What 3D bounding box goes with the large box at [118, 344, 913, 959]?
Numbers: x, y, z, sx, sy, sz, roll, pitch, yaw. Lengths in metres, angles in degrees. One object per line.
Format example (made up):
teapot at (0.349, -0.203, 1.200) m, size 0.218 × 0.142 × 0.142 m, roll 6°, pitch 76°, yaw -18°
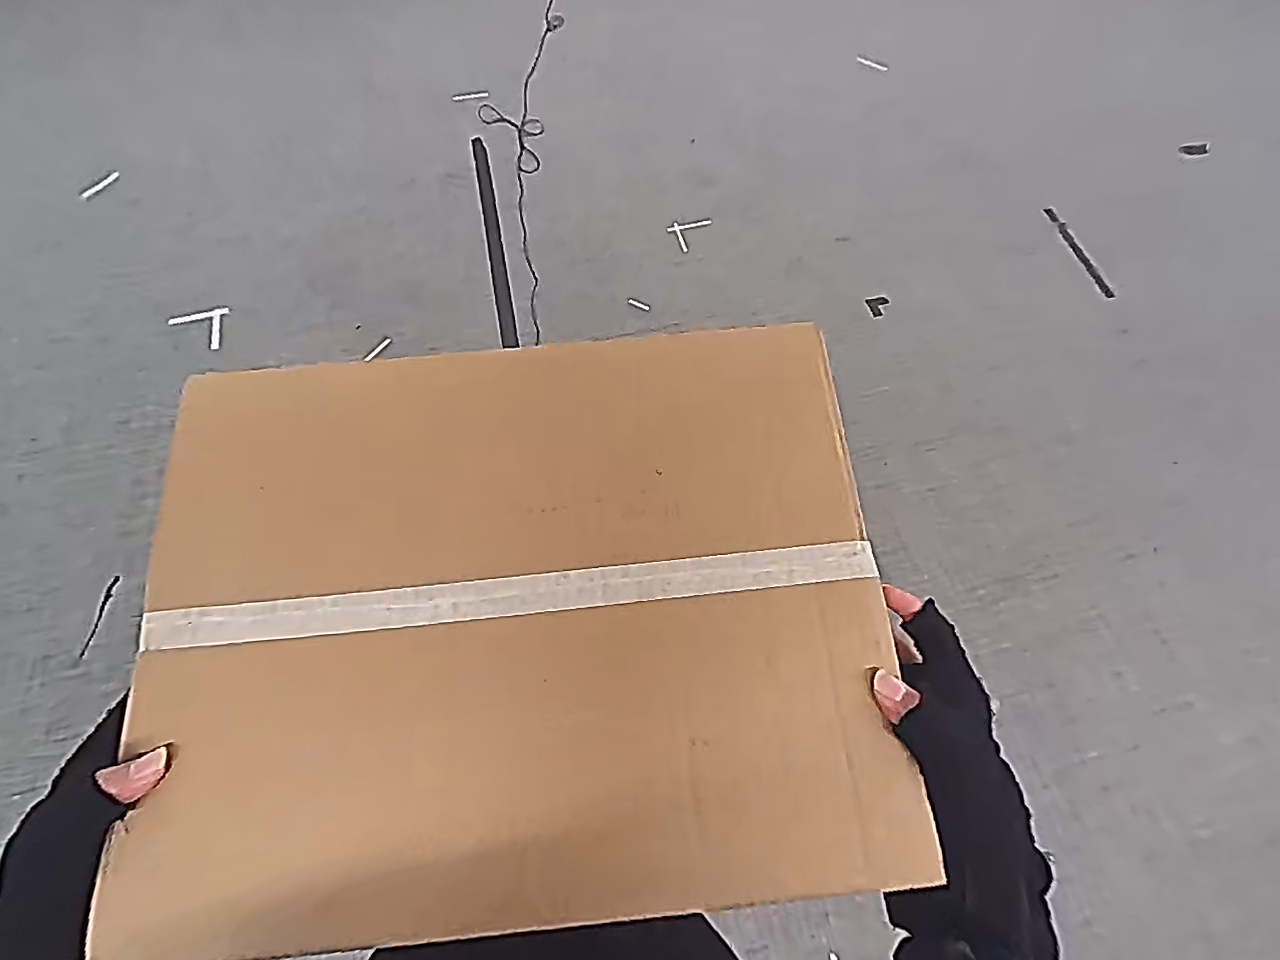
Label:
large box at (-0.071, 0.118, 0.451) m, size 0.408 × 0.320 × 0.320 m, roll -6°, pitch 72°, yaw -1°
